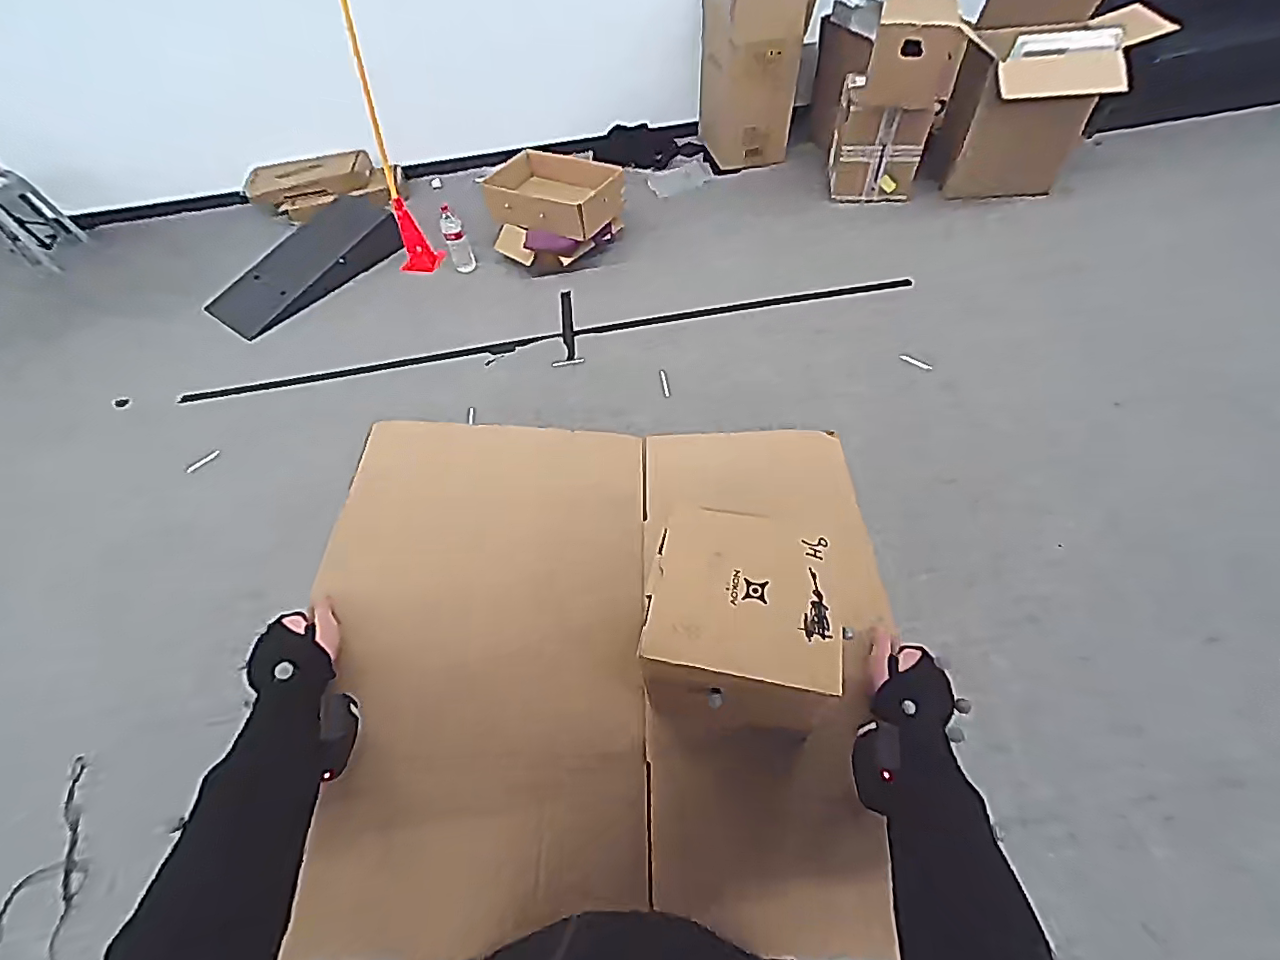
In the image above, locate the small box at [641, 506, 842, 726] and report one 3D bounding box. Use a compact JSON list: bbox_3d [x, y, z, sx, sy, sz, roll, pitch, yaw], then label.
[{"bbox_3d":[0.109,0.149,0.579,0.179,0.176,0.168,7,56,11],"label":"small box"}]
